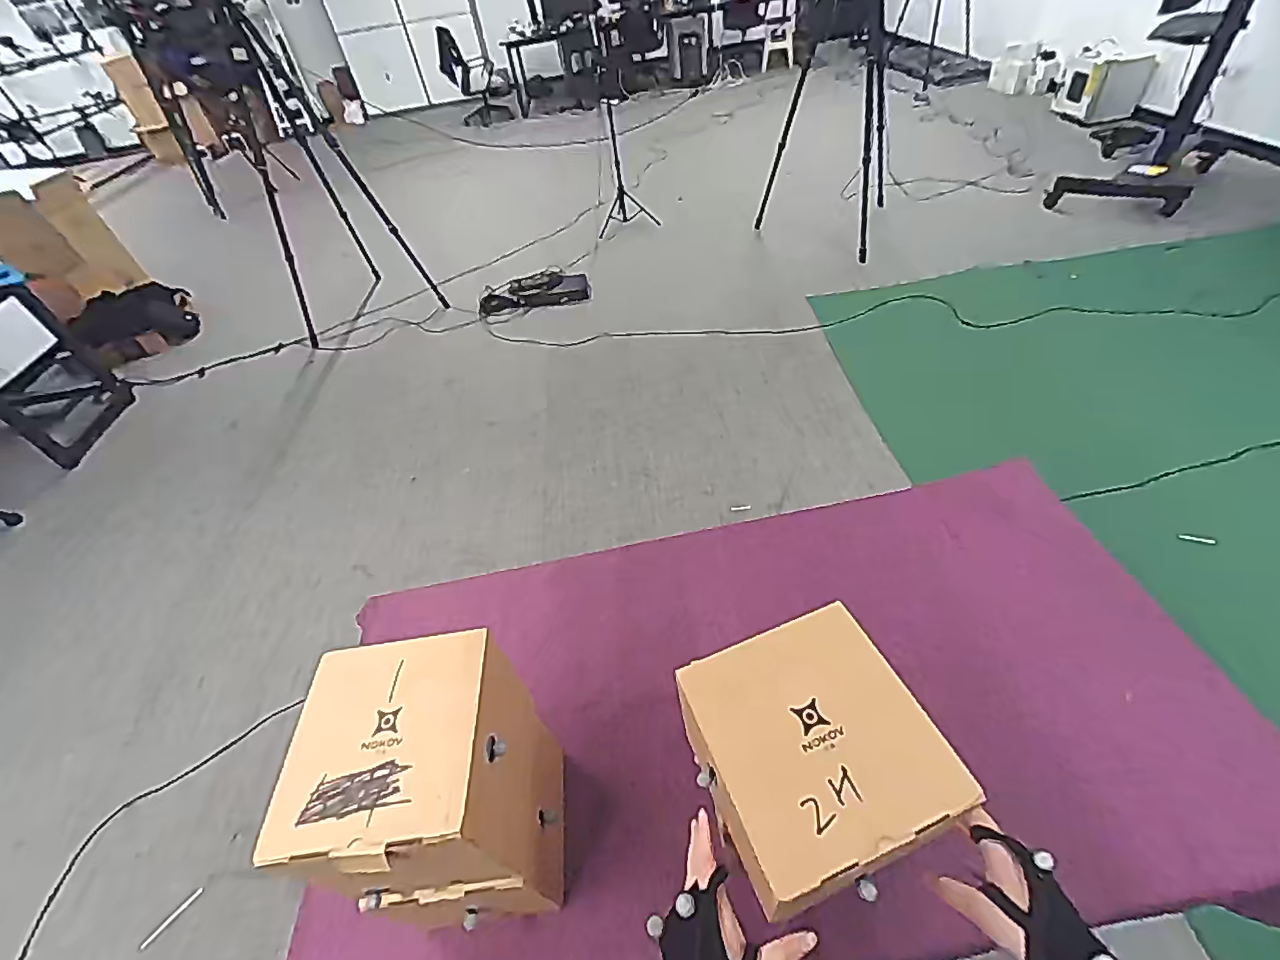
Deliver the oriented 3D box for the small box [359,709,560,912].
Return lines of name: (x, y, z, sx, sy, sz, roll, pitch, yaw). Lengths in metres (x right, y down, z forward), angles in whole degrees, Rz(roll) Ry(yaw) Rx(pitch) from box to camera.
small box: (-0.191, 0.387, 0.635, 0.168, 0.176, 0.179, -8, 46, 0)

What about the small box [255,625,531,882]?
small box: (-0.209, 0.268, 0.522, 0.168, 0.176, 0.179, -8, 45, 2)

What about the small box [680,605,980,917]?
small box: (0.145, 0.249, 0.481, 0.168, 0.176, 0.179, -19, 48, -8)
